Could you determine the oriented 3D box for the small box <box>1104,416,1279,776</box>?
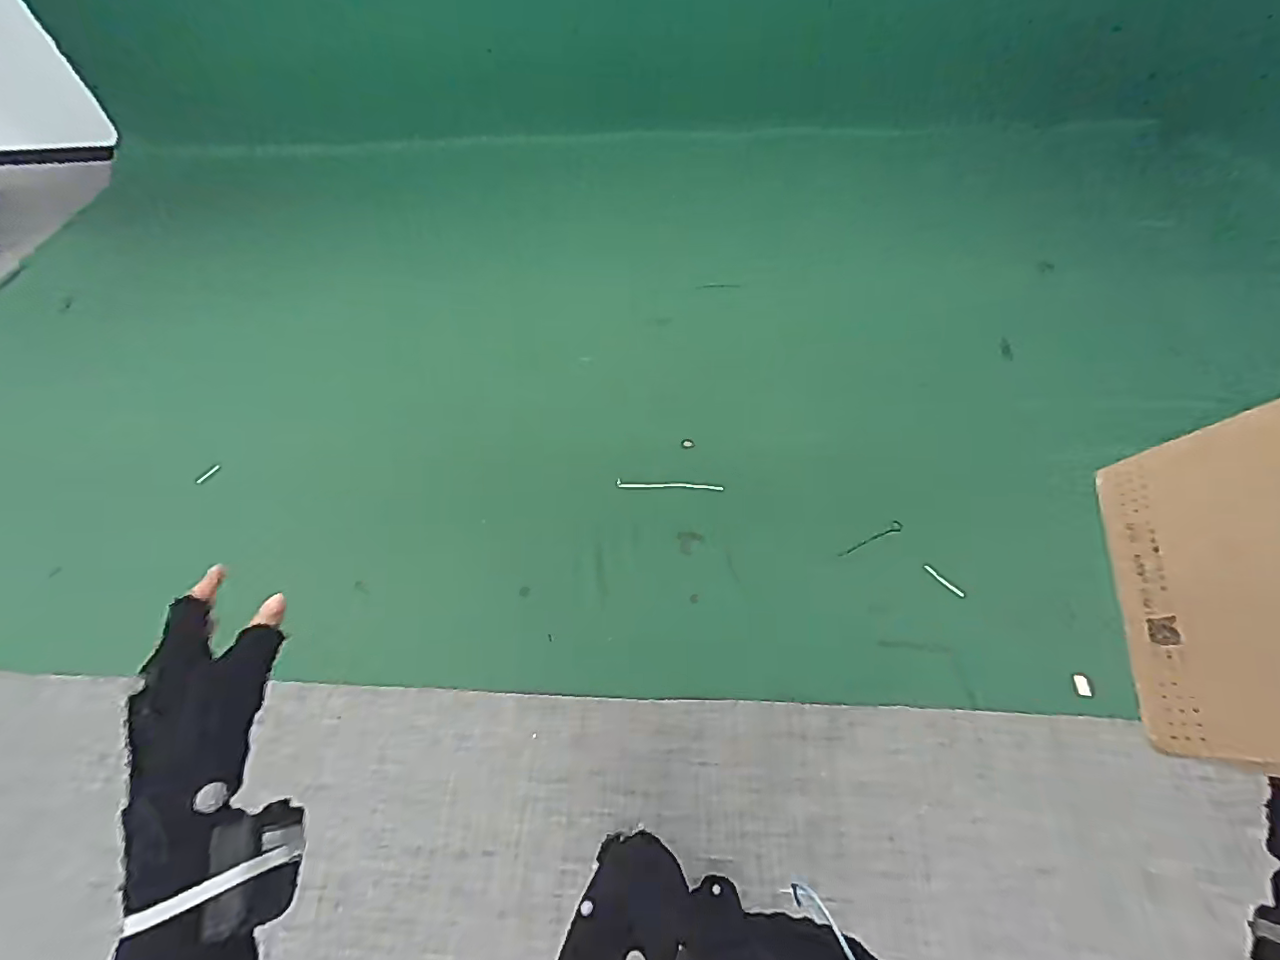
[{"bbox_3d":[0.376,0.056,0.248,0.179,0.176,0.168,13,66,-7],"label":"small box"}]
